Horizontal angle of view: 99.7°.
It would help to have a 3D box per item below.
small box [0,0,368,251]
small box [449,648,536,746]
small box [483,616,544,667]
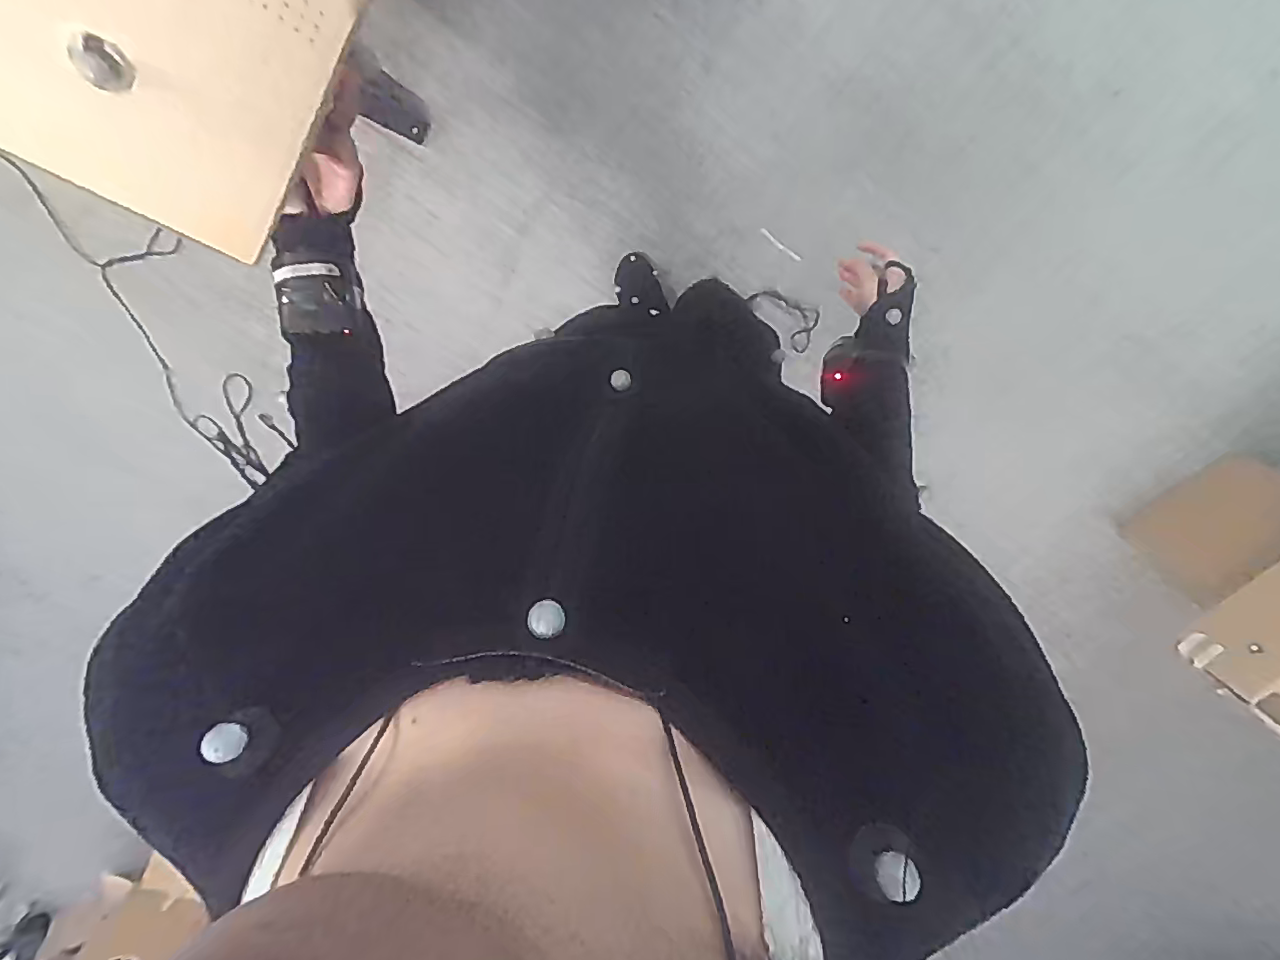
[{"bbox_3d":[-0.255,-0.270,0.278,0.179,0.168,0.176,23,132,-37],"label":"small box"},{"bbox_3d":[-0.414,0.614,1.547,0.179,0.176,0.168,23,110,-5],"label":"small box"},{"bbox_3d":[-0.417,0.563,1.702,0.168,0.176,0.179,27,110,-6],"label":"small box"}]
